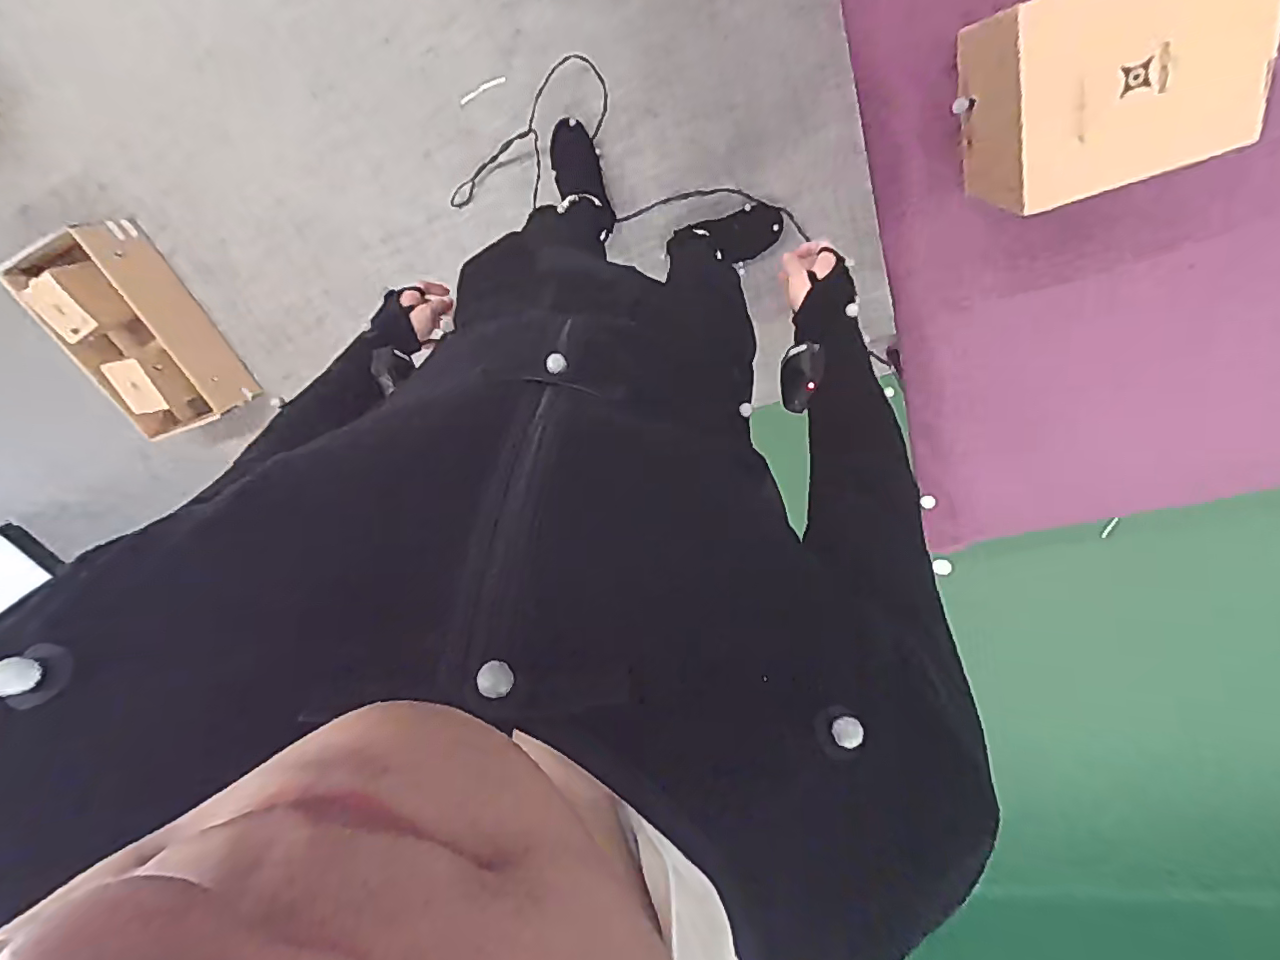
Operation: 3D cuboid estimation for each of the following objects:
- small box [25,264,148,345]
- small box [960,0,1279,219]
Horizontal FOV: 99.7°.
[{"bbox_3d":[-1.714,-0.553,1.684,0.168,0.176,0.179,-17,118,21],"label":"small box"},{"bbox_3d":[0.423,-0.366,0.500,0.179,0.176,0.168,-12,119,19],"label":"small box"}]
